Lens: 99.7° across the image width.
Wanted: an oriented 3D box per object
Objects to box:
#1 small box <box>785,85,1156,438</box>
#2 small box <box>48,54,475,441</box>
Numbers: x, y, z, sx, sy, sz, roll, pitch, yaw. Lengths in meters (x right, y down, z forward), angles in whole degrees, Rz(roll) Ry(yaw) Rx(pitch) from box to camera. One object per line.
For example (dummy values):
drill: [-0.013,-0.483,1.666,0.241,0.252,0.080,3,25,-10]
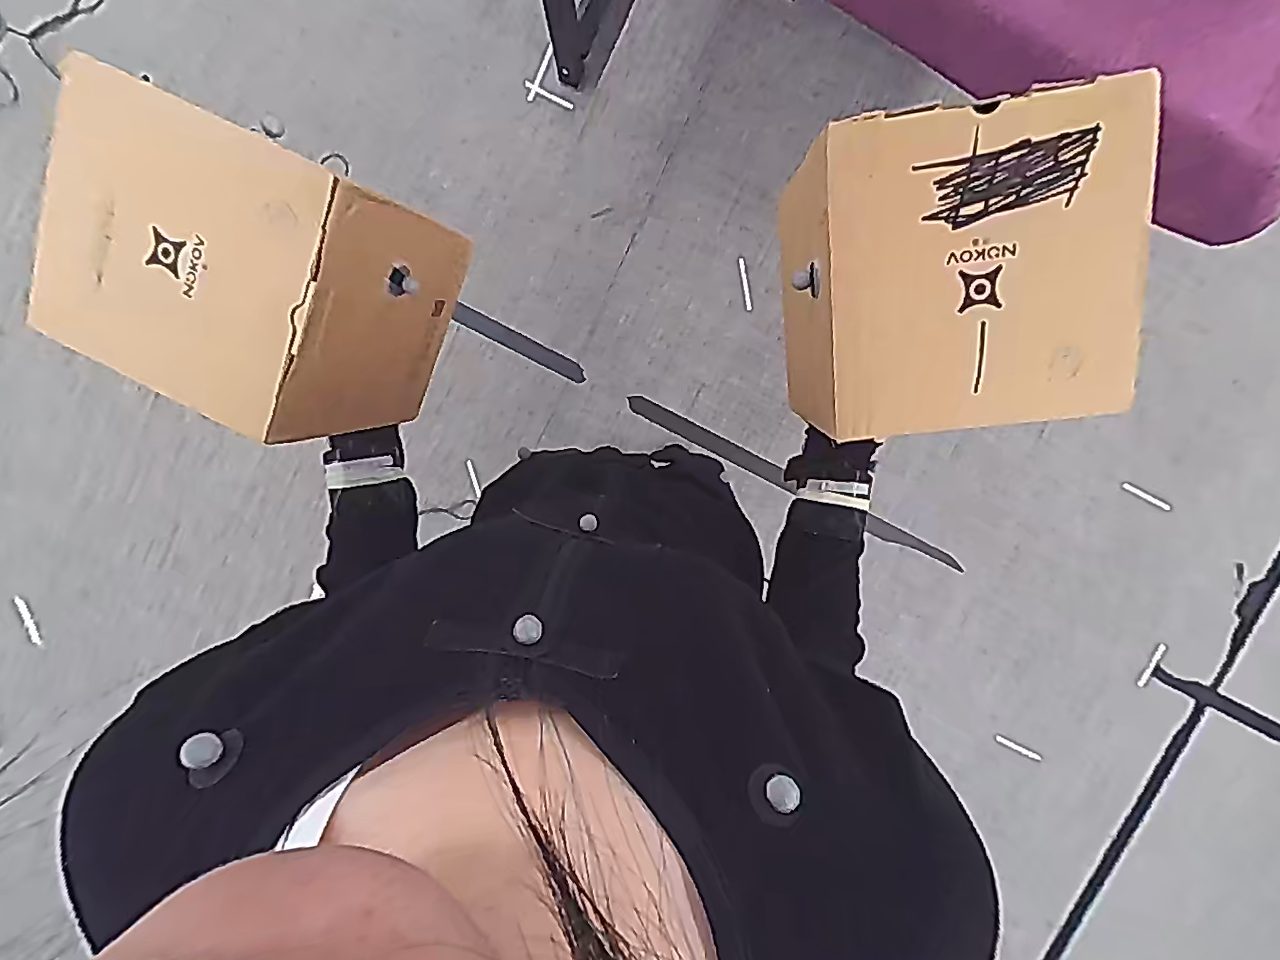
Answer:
small box: [0.201,-0.134,0.384,0.168,0.176,0.179,-5,104,7]
small box: [-0.250,-0.147,0.394,0.179,0.176,0.168,26,104,3]
